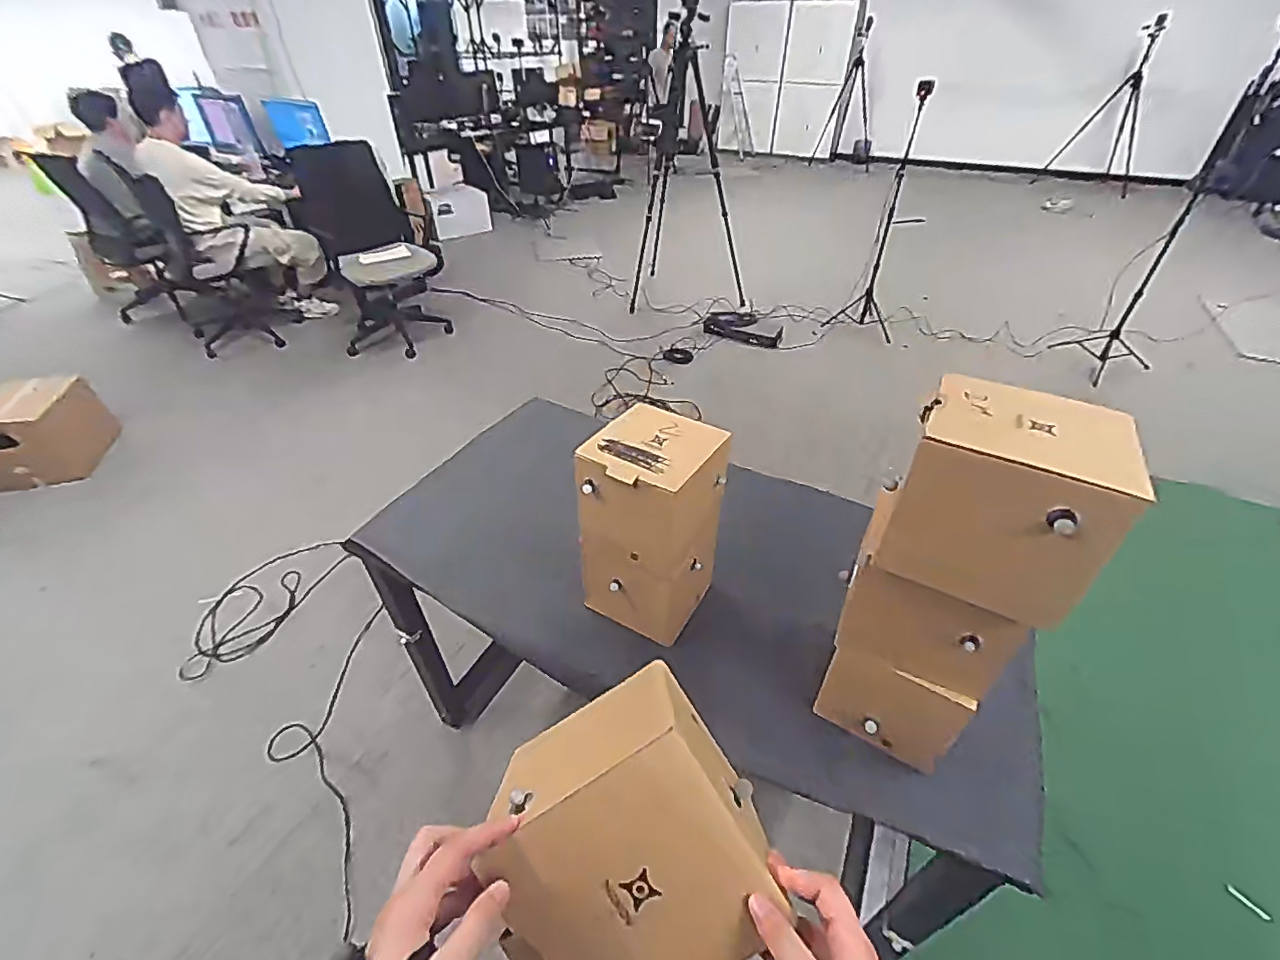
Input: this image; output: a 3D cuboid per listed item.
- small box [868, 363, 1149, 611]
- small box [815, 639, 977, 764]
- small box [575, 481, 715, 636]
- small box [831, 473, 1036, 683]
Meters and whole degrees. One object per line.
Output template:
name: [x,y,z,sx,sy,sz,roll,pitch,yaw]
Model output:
small box: [0.359,0.005,0.554,0.179,0.176,0.168,20,40,24]
small box: [0.365,0.253,0.767,0.168,0.176,0.179,22,43,27]
small box: [0.011,0.134,0.922,0.179,0.176,0.168,20,42,24]
small box: [0.357,0.121,0.673,0.179,0.176,0.168,16,38,21]
